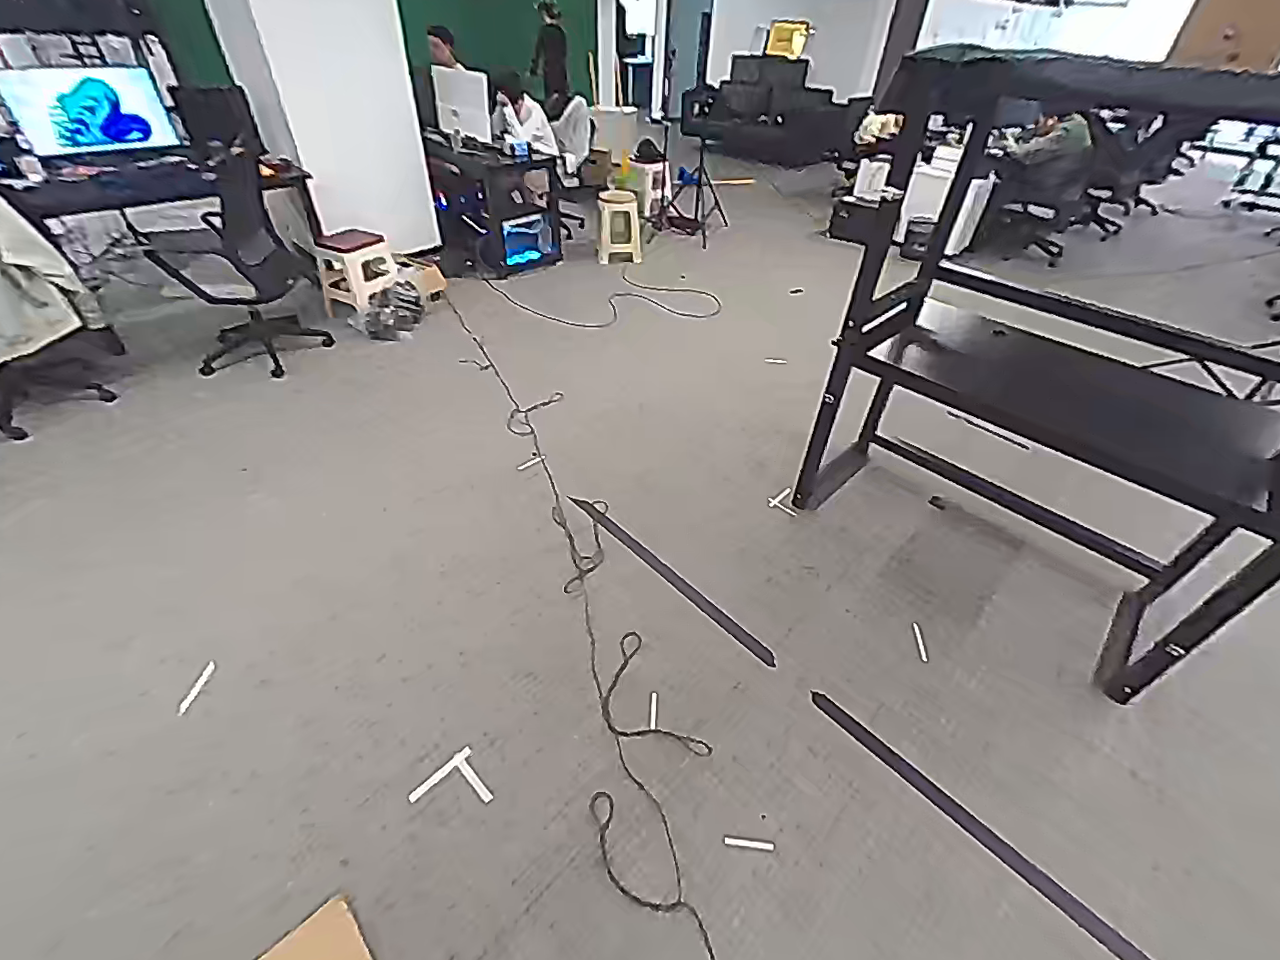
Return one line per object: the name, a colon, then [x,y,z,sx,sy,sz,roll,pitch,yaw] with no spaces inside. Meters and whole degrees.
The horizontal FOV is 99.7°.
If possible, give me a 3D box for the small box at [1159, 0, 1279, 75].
small box: [1.132,-0.873,1.014,0.179,0.176,0.168,-28,49,-34]
